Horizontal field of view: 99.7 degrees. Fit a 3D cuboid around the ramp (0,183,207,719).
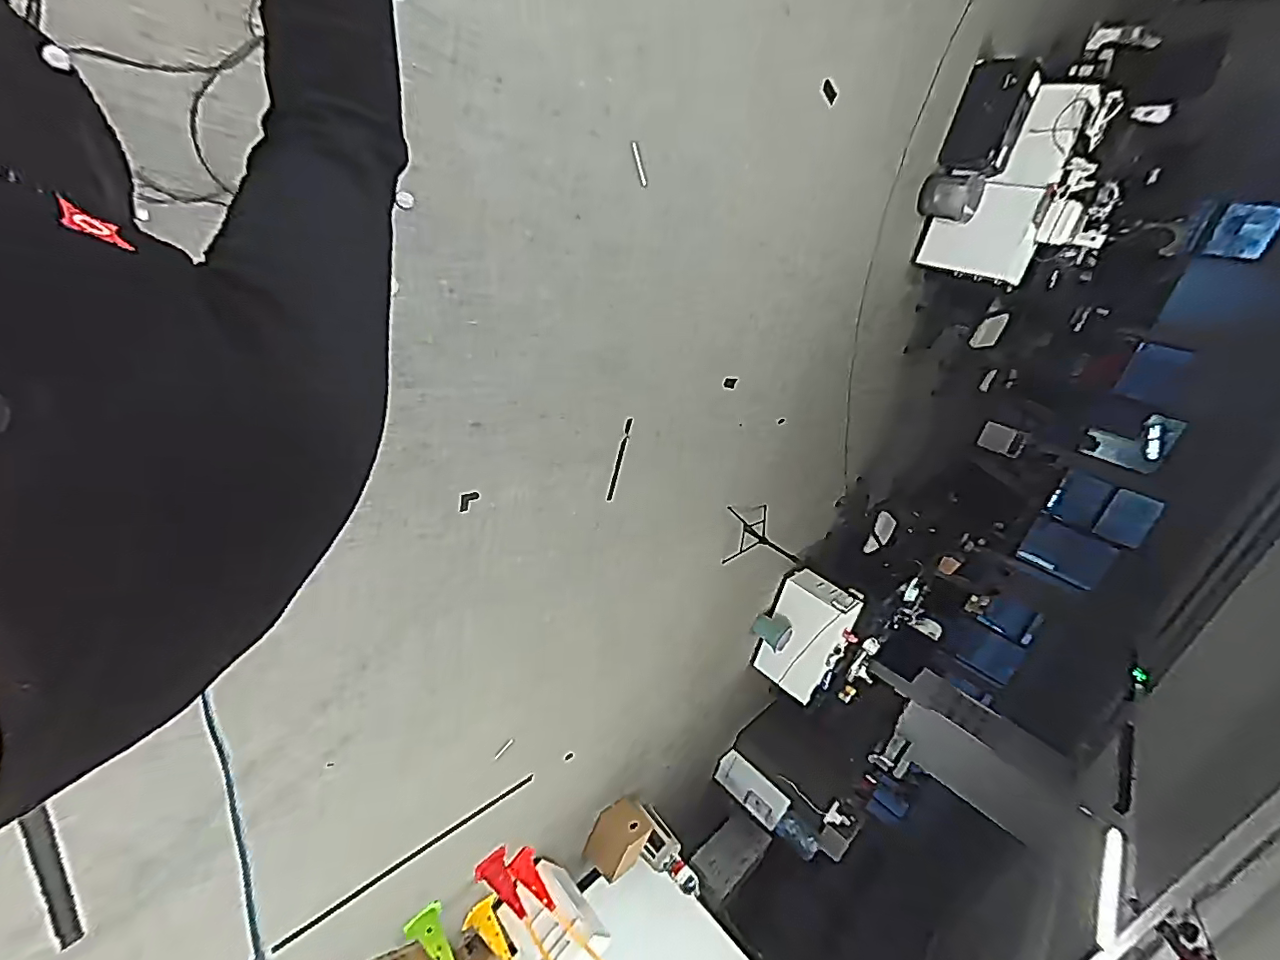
[{"bbox_3d":[-1.179,-0.012,0.994,0.509,0.206,0.991,-14,125,-43],"label":"ramp"}]
